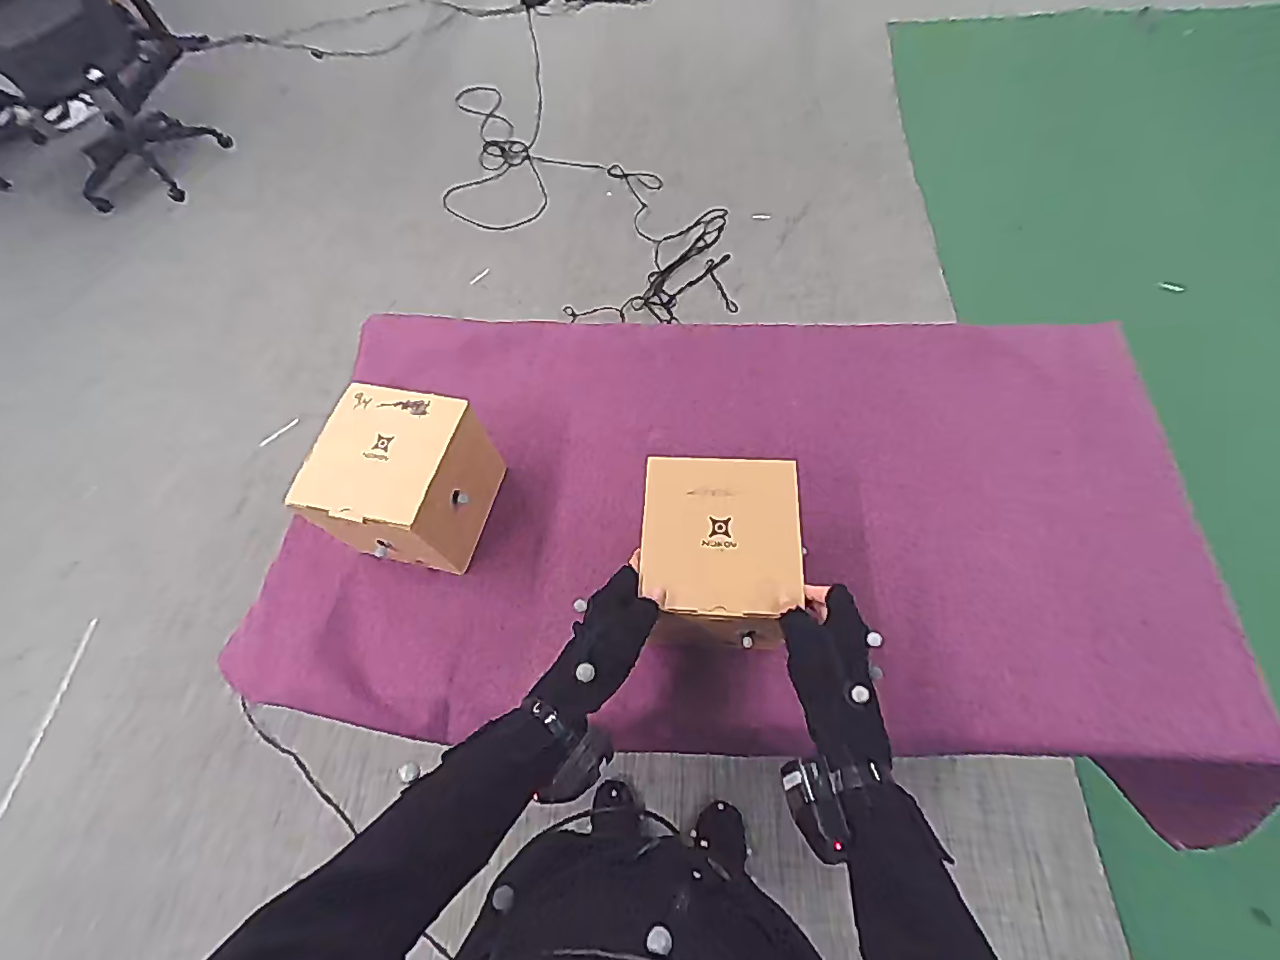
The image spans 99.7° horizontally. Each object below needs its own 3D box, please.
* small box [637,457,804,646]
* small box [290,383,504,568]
[{"bbox_3d":[0.091,0.090,0.633,0.168,0.176,0.179,2,63,6],"label":"small box"},{"bbox_3d":[-0.298,0.002,0.711,0.168,0.176,0.179,10,65,10],"label":"small box"}]
